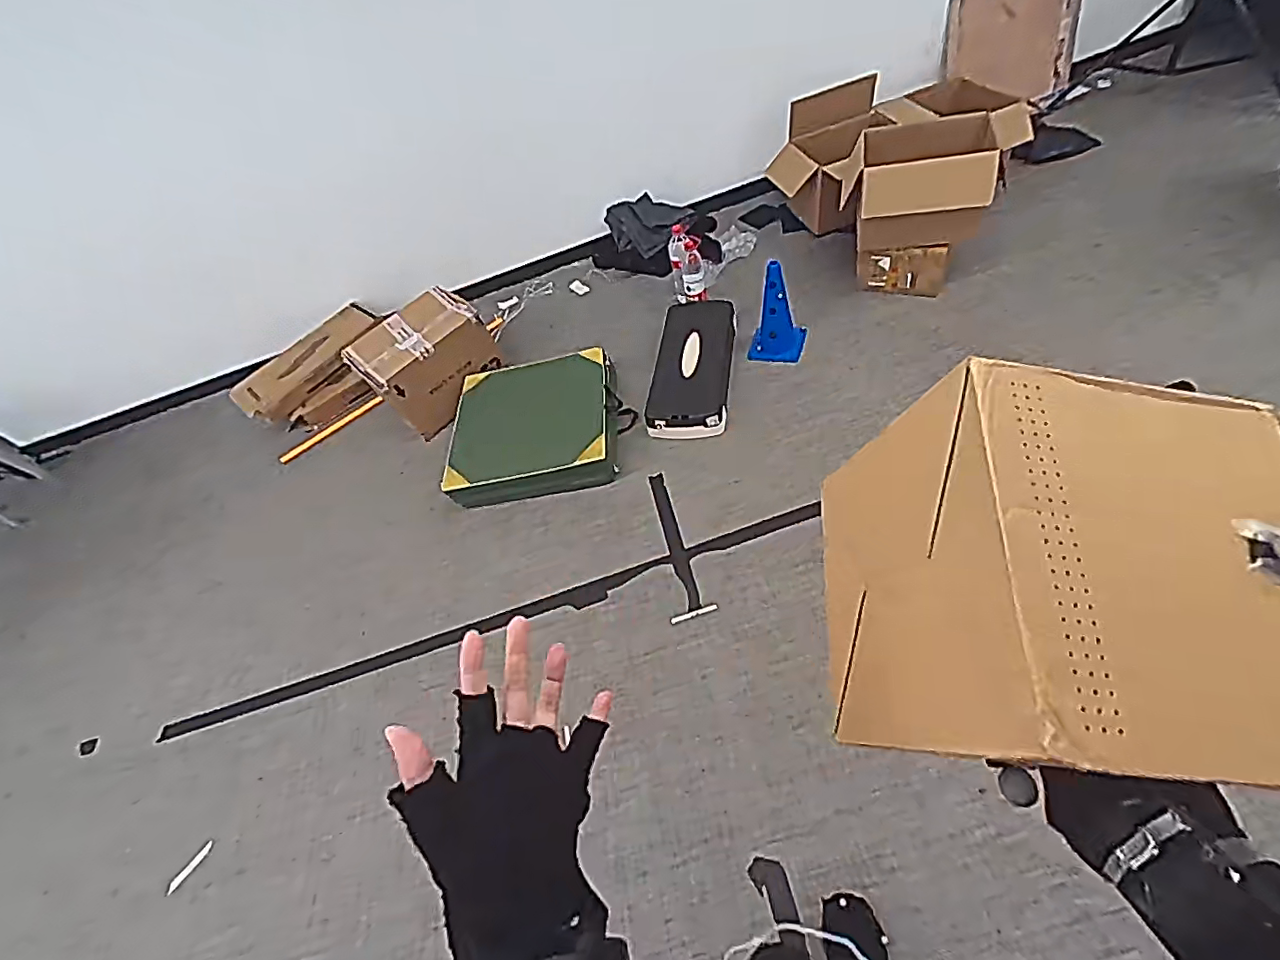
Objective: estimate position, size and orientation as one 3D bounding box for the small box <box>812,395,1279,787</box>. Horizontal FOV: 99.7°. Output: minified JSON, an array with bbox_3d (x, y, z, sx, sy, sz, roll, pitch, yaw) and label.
[{"bbox_3d":[0.213,0.069,0.315,0.176,0.168,0.179,8,65,-4],"label":"small box"}]
